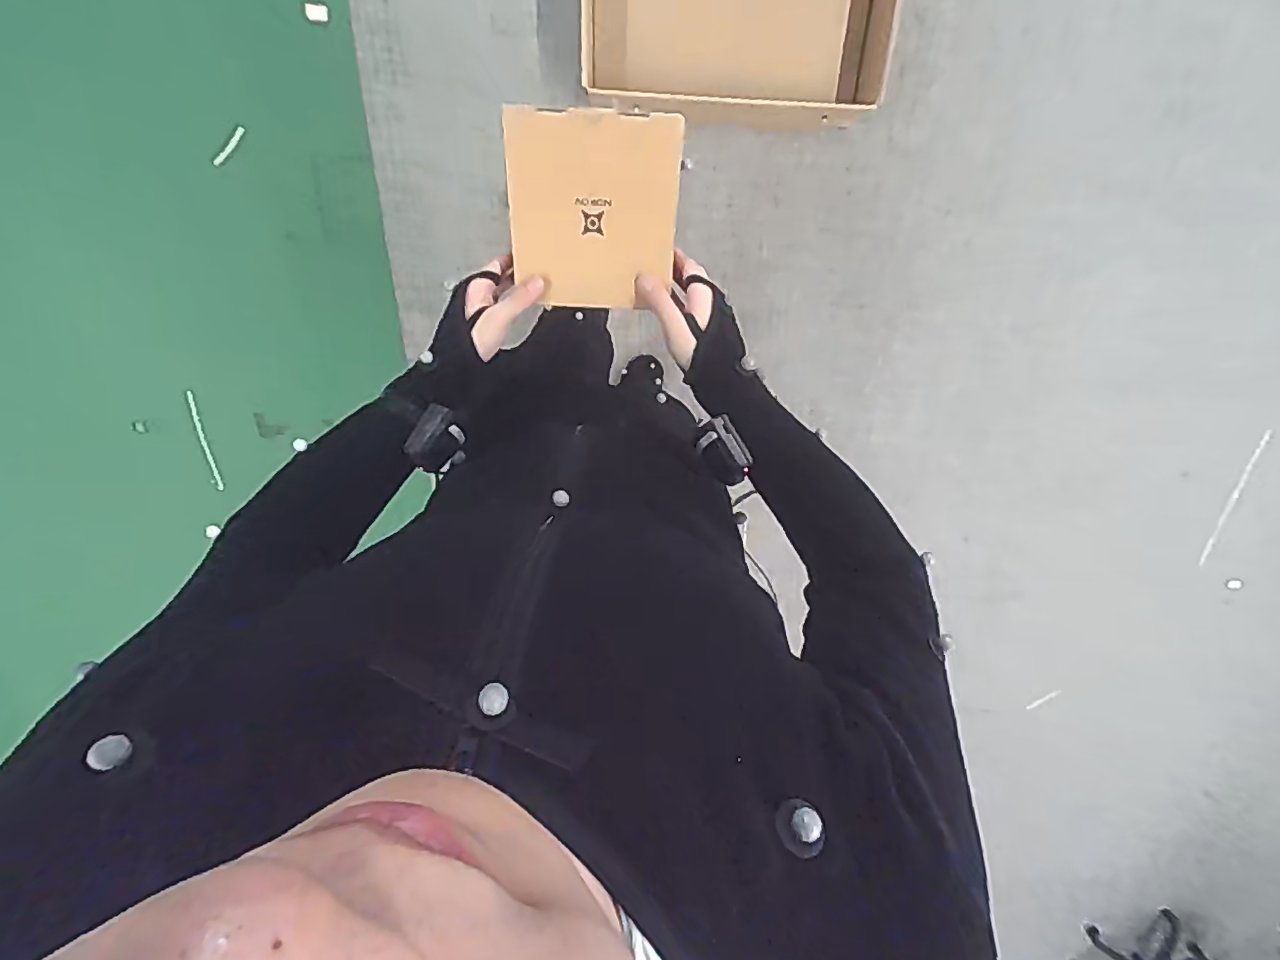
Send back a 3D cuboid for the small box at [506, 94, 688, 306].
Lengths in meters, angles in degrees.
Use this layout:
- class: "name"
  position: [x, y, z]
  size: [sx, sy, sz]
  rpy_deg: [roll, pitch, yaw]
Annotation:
- class: "small box"
  position: [-0.041, -0.304, 0.589]
  size: [0.168, 0.176, 0.179]
  rpy_deg: [3, 122, -1]
